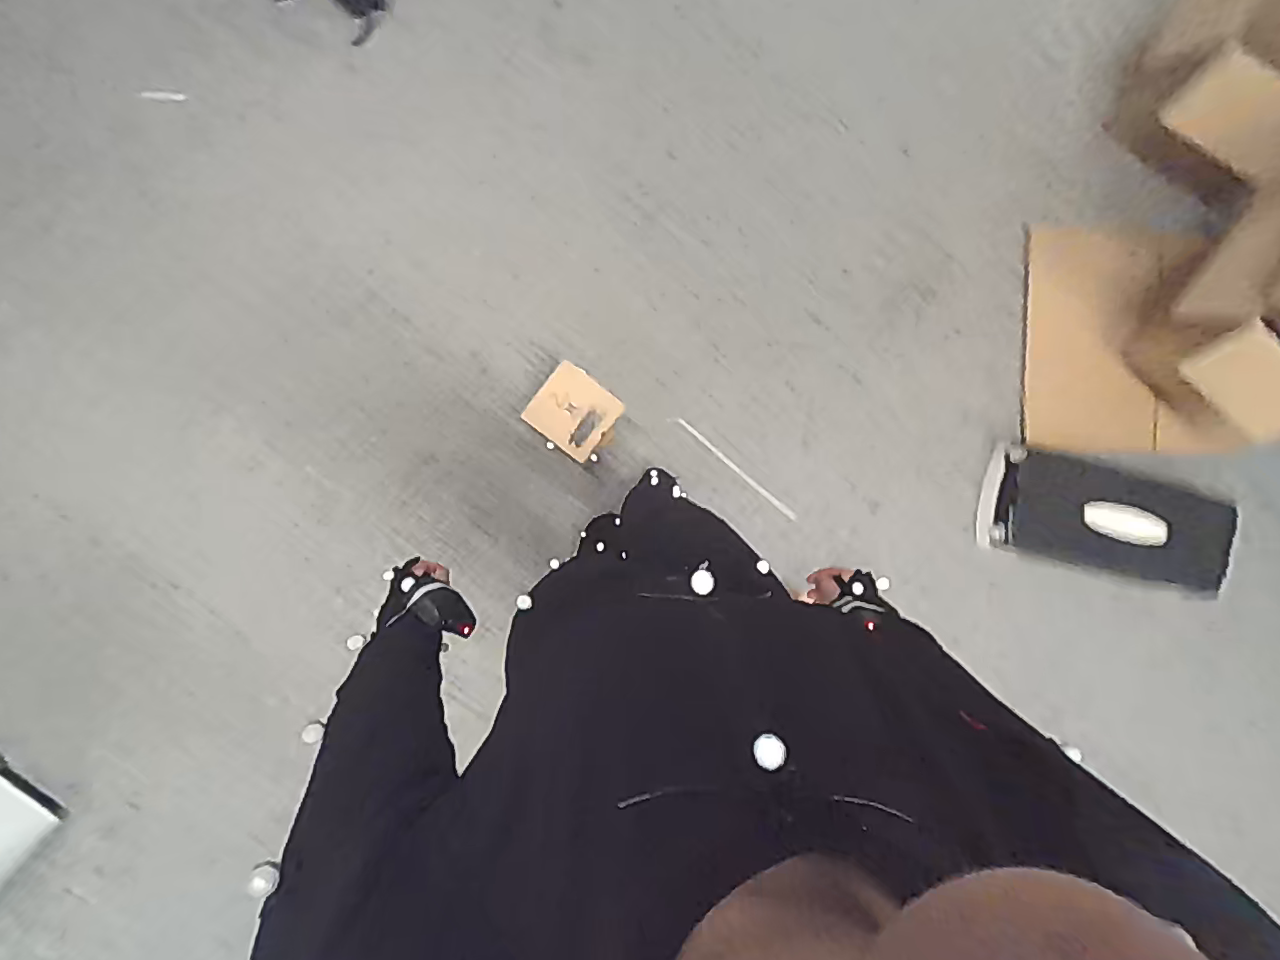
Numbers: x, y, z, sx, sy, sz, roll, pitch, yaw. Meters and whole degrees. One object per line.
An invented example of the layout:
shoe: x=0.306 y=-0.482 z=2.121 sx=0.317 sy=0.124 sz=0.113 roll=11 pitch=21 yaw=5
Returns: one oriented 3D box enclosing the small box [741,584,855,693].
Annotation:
small box: x=0.379 y=0.377 z=1.326 sx=0.179 sy=0.176 sz=0.168 roll=39 pitch=87 yaw=-4
